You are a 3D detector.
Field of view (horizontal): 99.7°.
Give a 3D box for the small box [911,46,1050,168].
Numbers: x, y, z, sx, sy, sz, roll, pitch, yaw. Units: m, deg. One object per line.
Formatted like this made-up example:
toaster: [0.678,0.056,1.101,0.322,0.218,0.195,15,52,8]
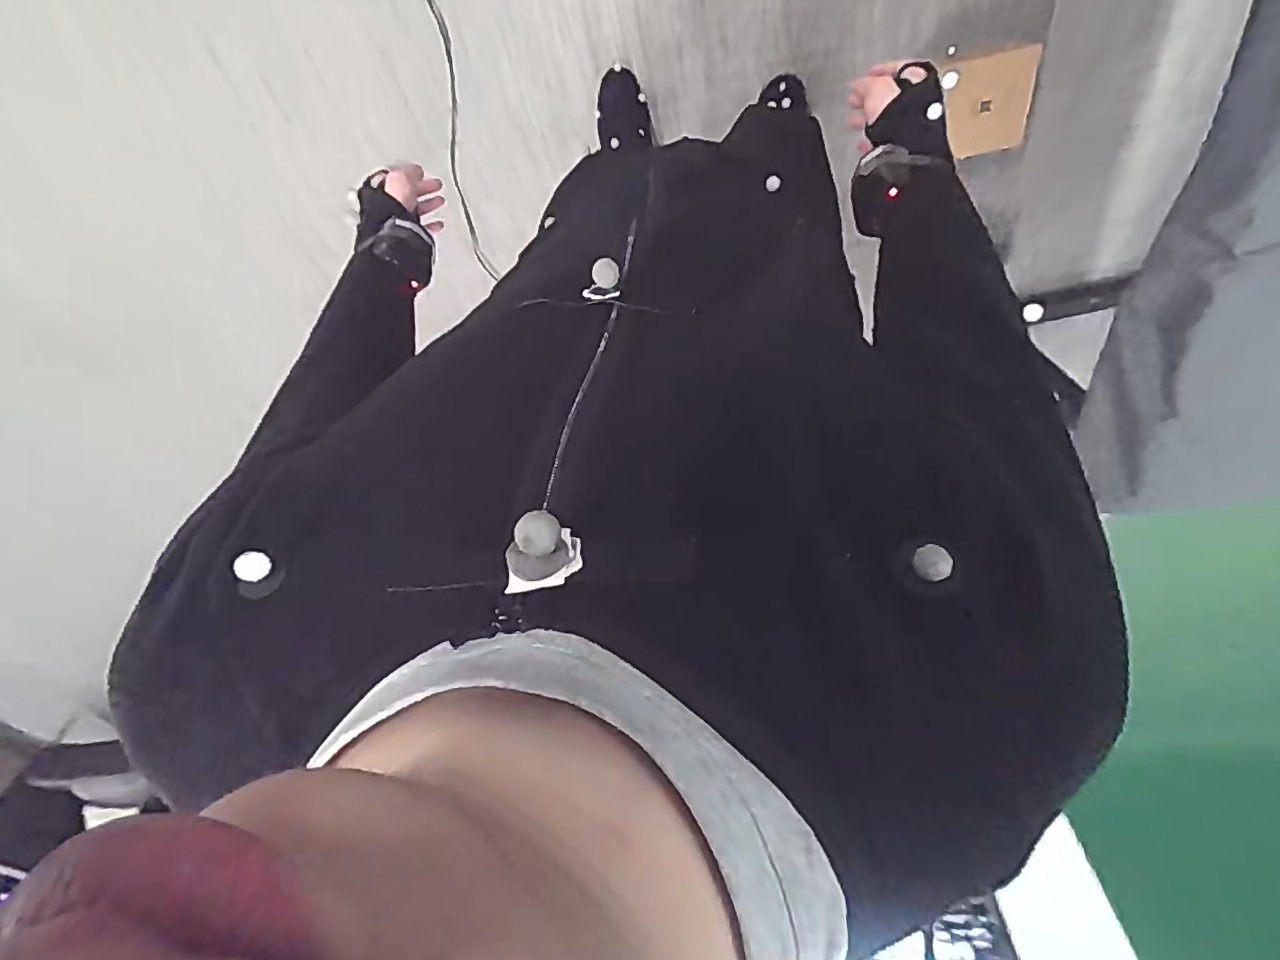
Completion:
small box: [0.672,-0.756,1.096,0.179,0.176,0.168,-8,131,9]
